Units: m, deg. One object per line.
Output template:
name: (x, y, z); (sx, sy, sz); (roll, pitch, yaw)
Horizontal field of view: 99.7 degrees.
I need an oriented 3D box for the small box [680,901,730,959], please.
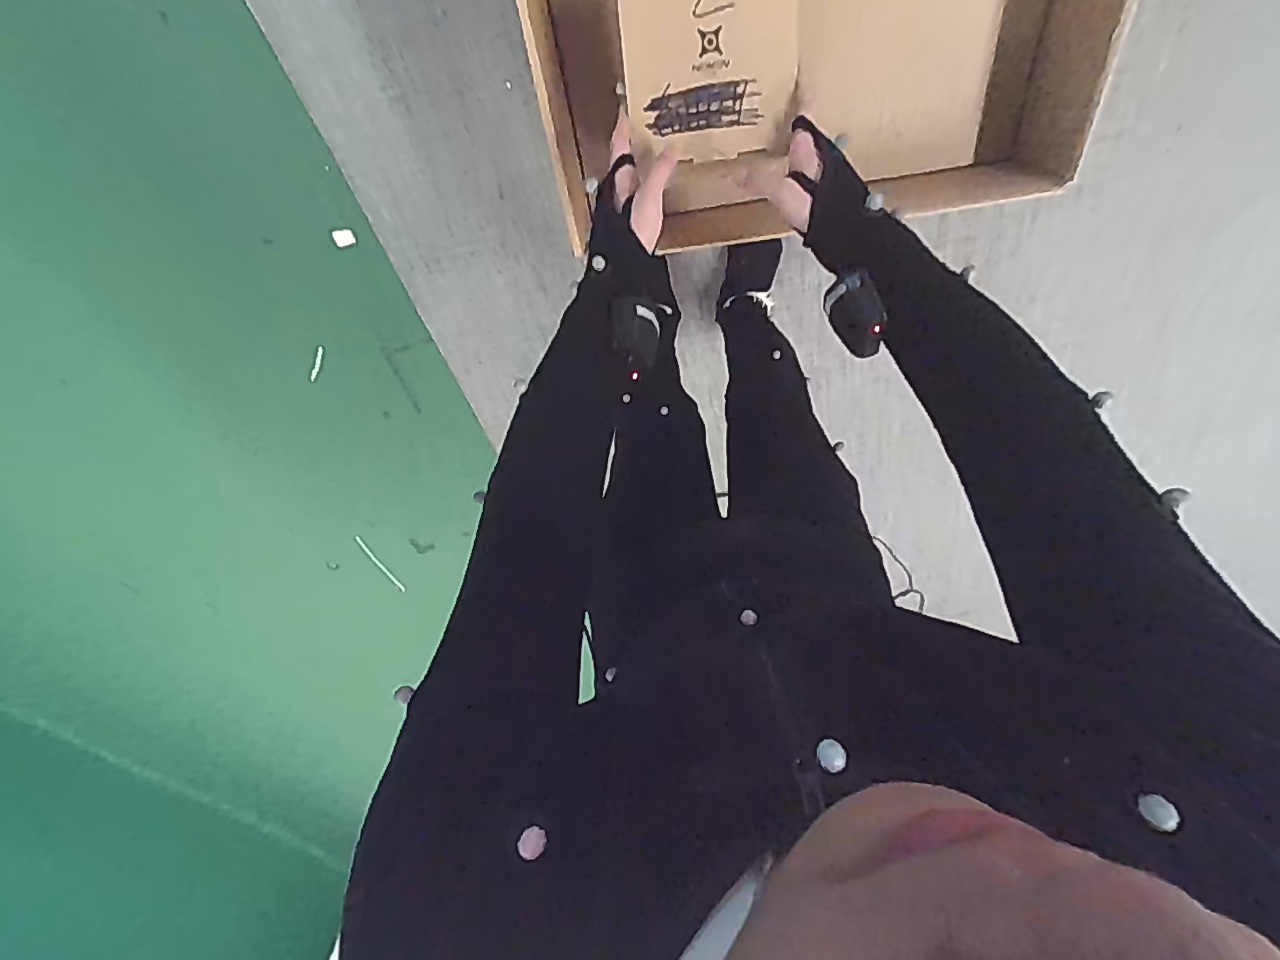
small box: (0.255, 1.793, 2.140); (0.168, 0.176, 0.179); (-13, 127, 10)
